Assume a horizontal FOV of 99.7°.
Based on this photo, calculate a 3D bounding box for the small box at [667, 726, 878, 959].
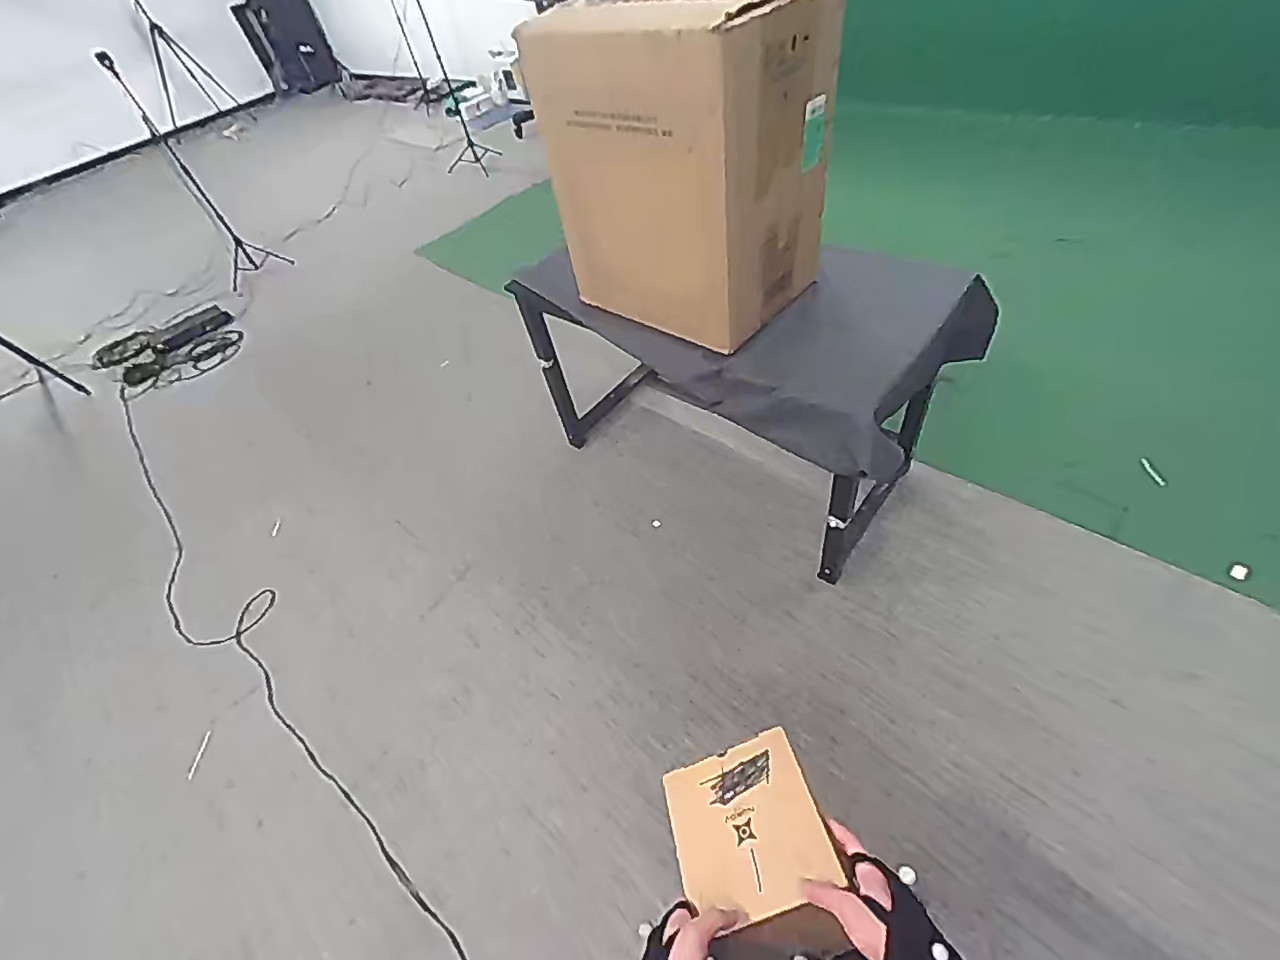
[{"bbox_3d":[0.151,0.439,0.640,0.168,0.176,0.179,-27,31,5],"label":"small box"}]
